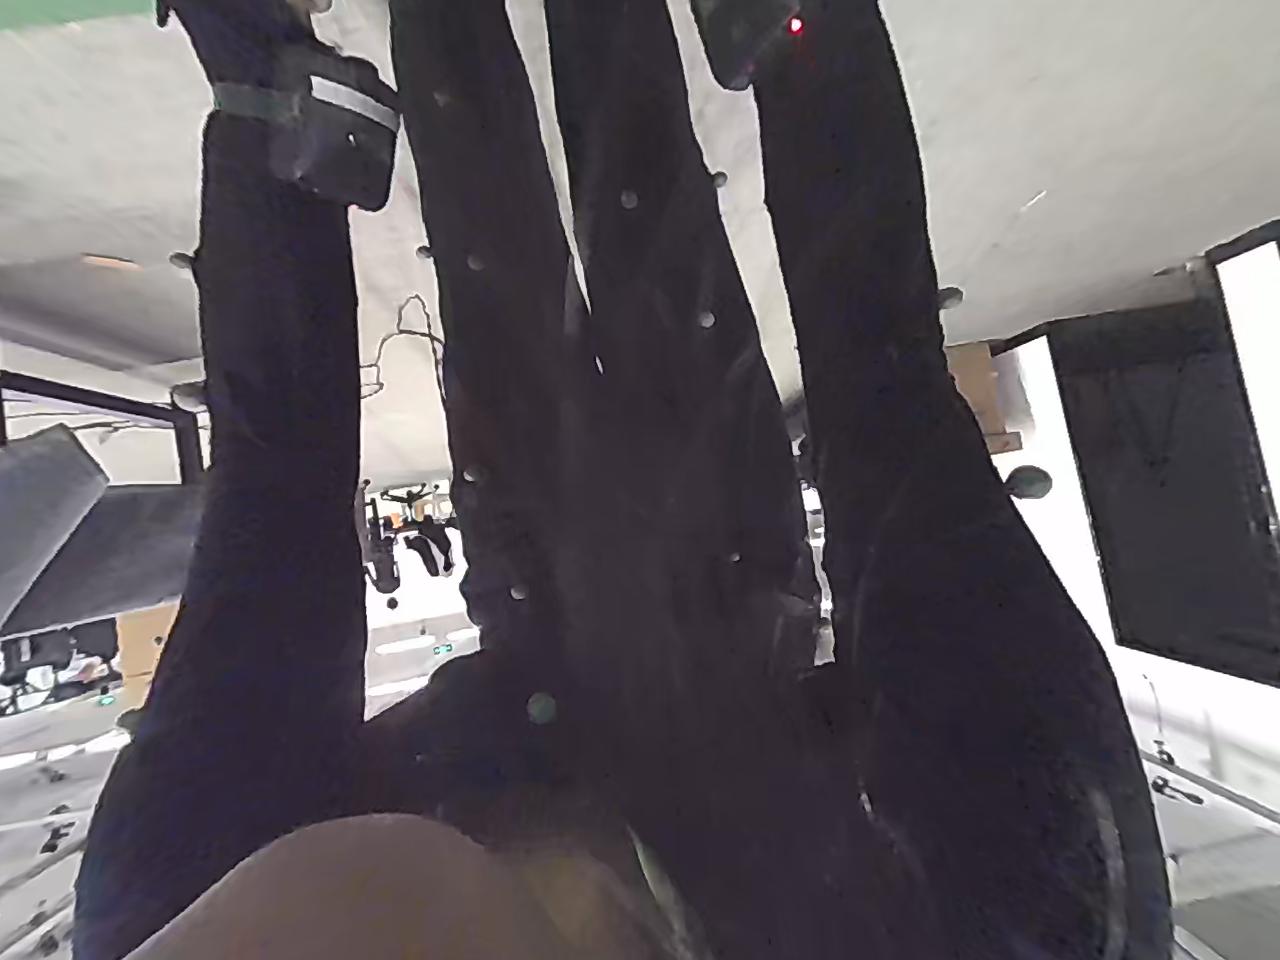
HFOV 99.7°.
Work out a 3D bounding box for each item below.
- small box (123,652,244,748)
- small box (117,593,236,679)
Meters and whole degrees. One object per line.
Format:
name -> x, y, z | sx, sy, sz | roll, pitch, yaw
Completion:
small box -> -1.162, 0.553, 1.381 | 0.168, 0.176, 0.179 | -9, 177, -1
small box -> -1.187, 0.391, 1.388 | 0.179, 0.176, 0.168 | -10, 177, -4
